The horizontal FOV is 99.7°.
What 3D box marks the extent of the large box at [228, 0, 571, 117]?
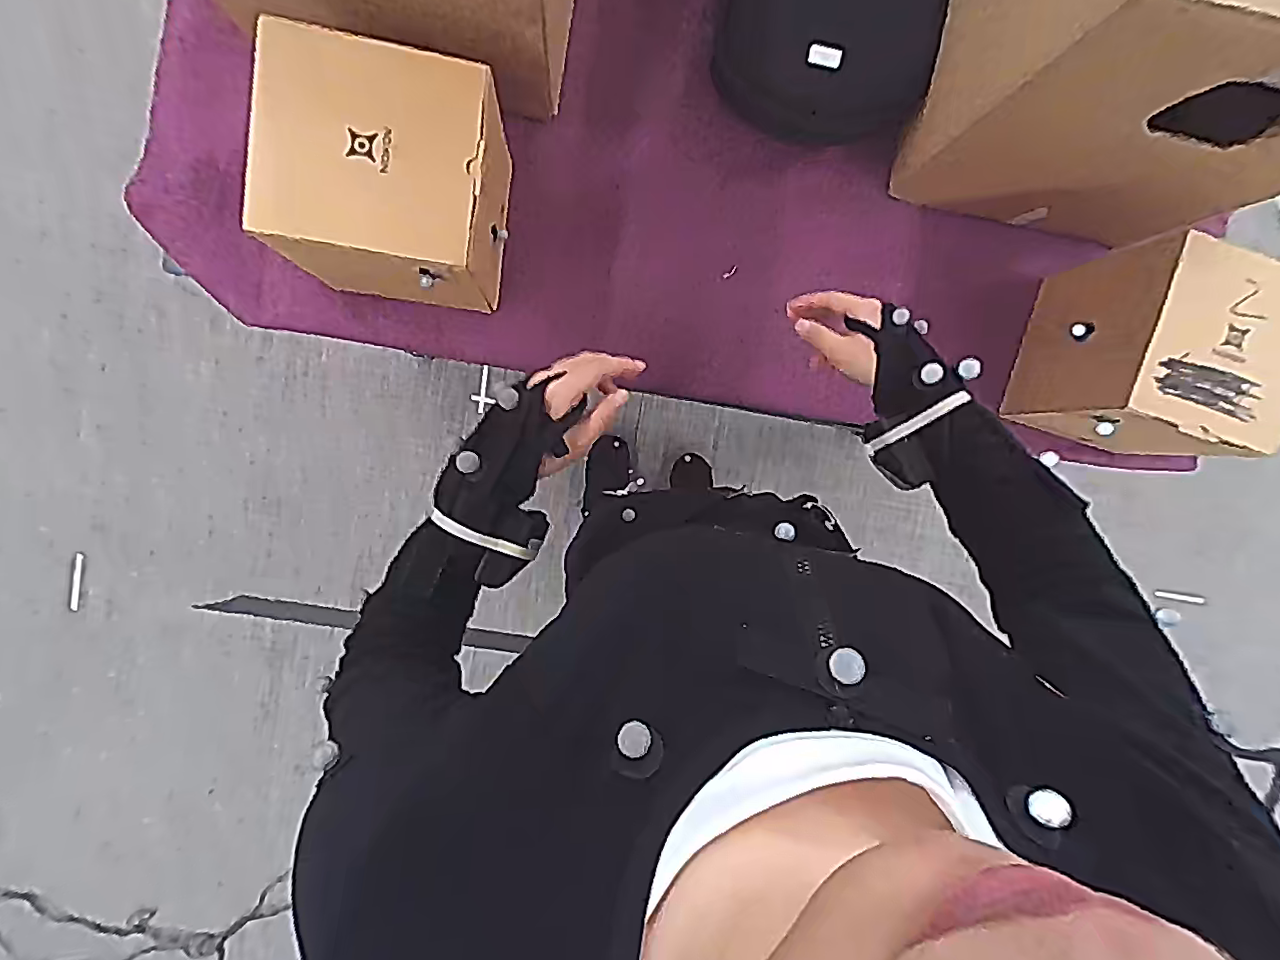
[{"bbox_3d":[-0.196,-0.602,0.423,0.320,0.320,0.408,8,97,-7],"label":"large box"}]
